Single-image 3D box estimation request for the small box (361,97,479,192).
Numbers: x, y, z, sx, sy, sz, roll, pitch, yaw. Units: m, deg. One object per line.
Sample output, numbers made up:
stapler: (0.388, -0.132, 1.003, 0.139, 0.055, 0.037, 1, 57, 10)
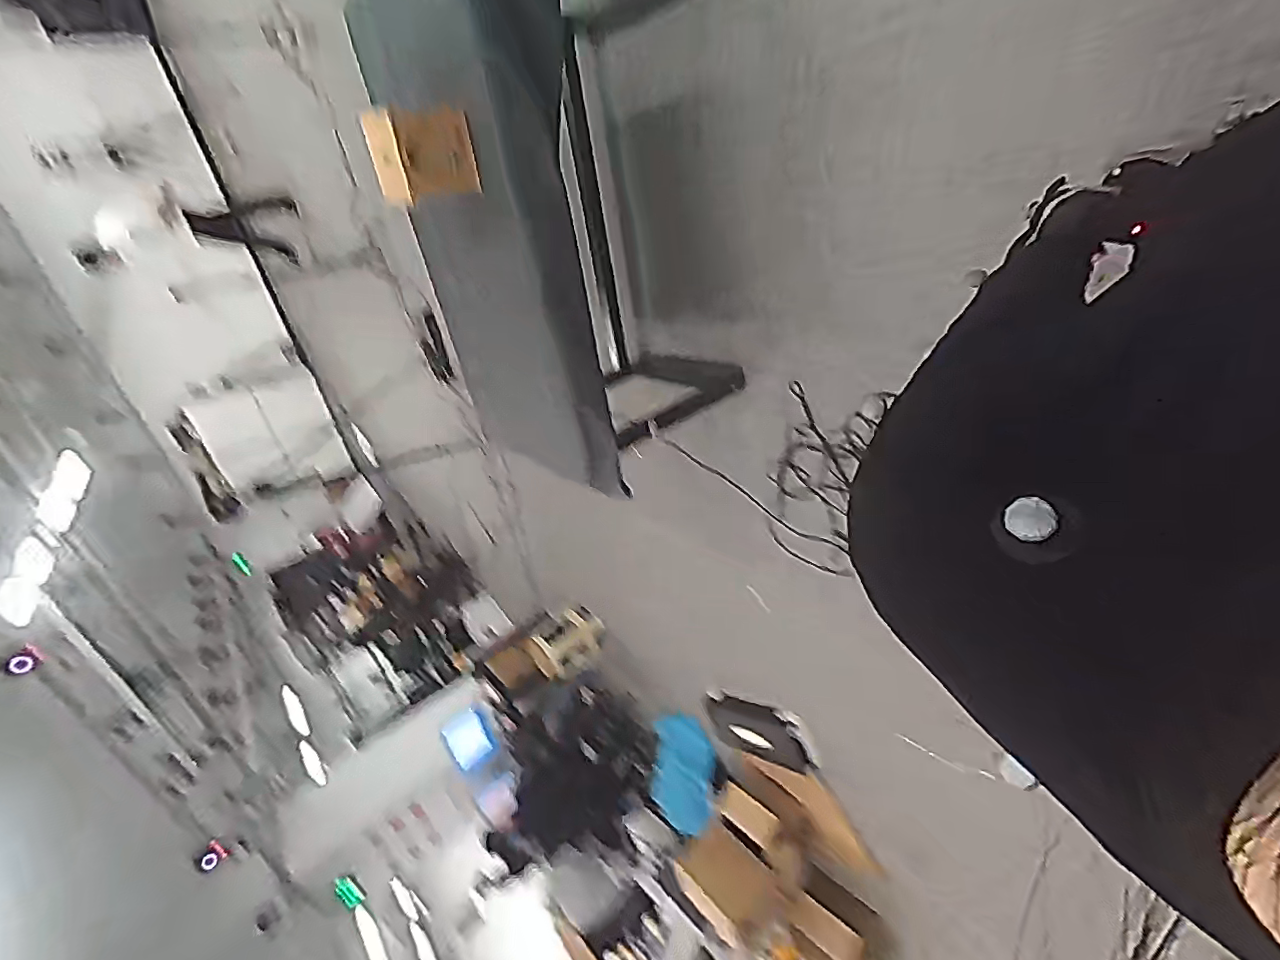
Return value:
small box: (-0.481, -0.741, 1.197, 0.179, 0.176, 0.168, 28, 136, 41)
